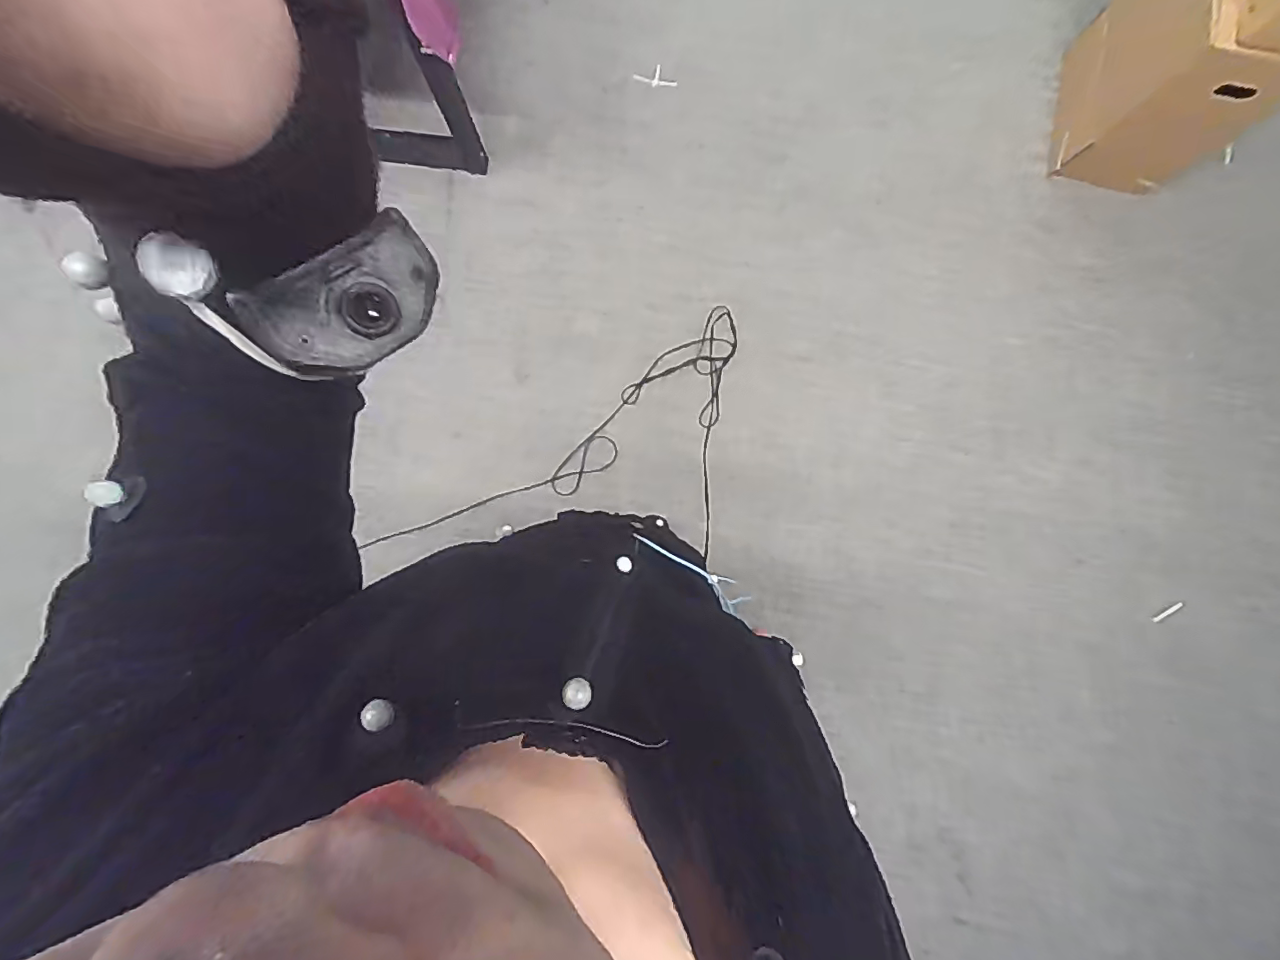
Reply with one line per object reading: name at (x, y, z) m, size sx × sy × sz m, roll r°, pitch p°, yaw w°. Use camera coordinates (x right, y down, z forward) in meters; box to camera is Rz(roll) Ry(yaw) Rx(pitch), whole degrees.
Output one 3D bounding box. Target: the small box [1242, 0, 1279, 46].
small box at (1.382, -1.003, 1.076) m, size 0.179 × 0.176 × 0.168 m, roll 9°, pitch 85°, yaw 0°
